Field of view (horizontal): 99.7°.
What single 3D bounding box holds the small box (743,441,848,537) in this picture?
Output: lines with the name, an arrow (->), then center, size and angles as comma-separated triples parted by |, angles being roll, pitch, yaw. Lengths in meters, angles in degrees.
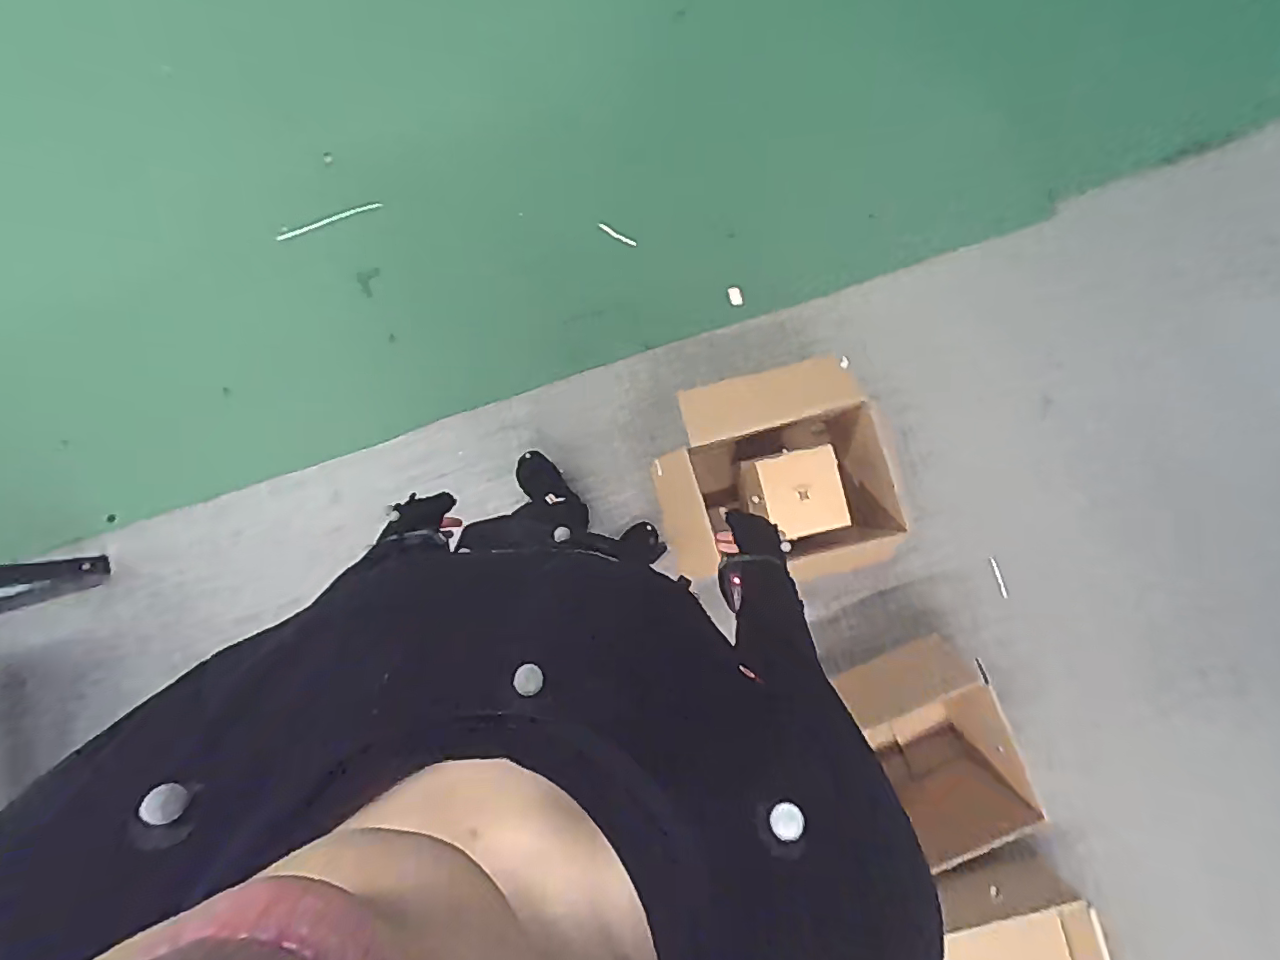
small box -> 0.342, 0.019, 1.214 | 0.168, 0.176, 0.179 | -14, 88, 0
